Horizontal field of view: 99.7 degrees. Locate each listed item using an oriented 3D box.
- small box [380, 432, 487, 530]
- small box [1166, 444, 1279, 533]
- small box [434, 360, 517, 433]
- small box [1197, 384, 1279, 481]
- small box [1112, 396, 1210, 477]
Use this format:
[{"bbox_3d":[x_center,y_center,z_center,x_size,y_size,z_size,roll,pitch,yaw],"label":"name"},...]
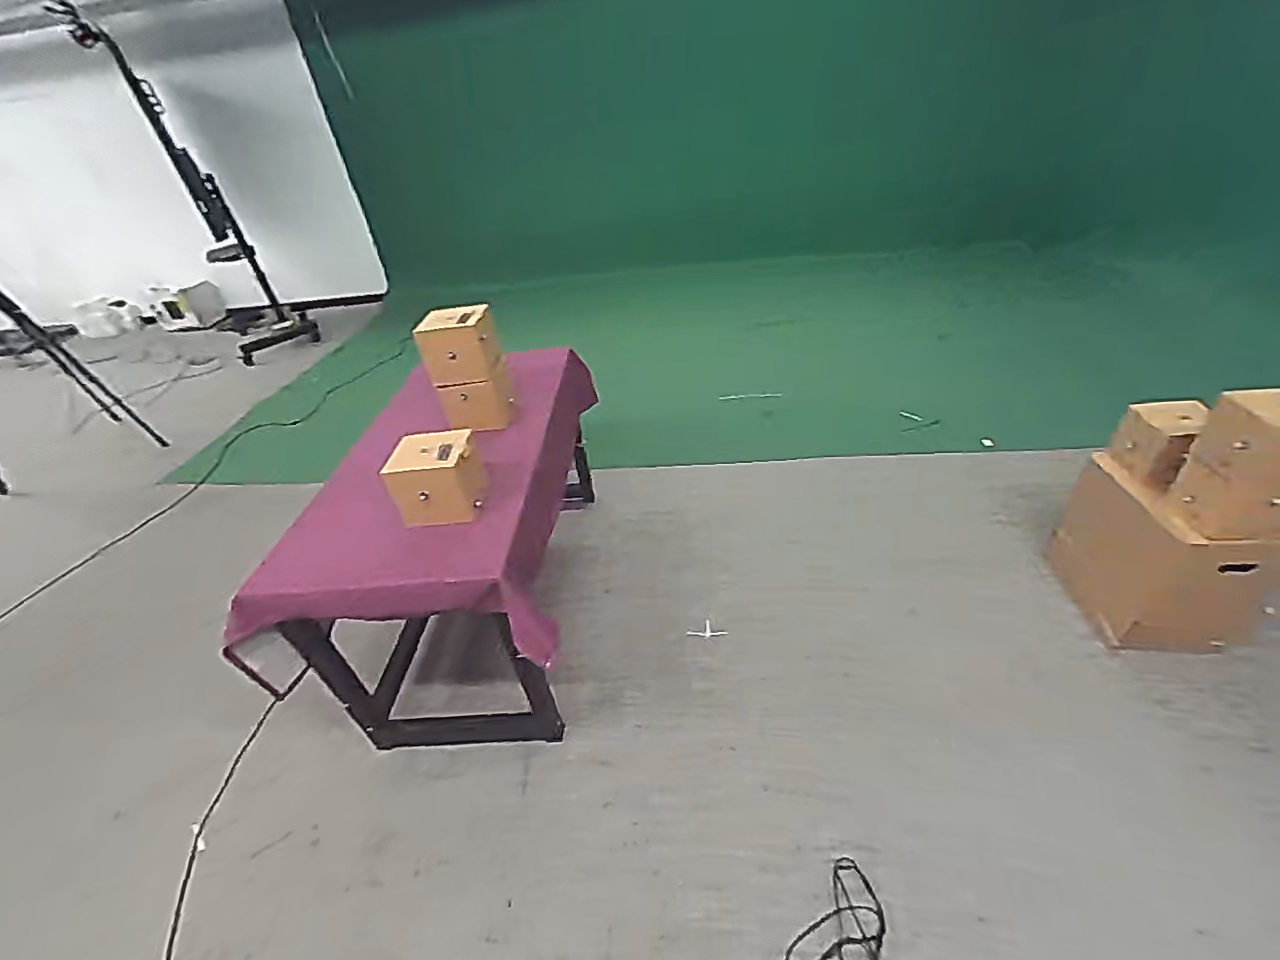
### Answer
[{"bbox_3d":[-0.493,0.005,1.326,0.179,0.176,0.168,-7,36,5],"label":"small box"},{"bbox_3d":[1.502,0.020,1.358,0.179,0.176,0.168,-4,36,7],"label":"small box"},{"bbox_3d":[-0.502,-0.255,1.674,0.179,0.176,0.168,-4,37,7],"label":"small box"},{"bbox_3d":[1.472,-0.110,1.263,0.179,0.176,0.168,-2,36,8],"label":"small box"},{"bbox_3d":[1.502,-0.120,1.543,0.179,0.176,0.168,-4,39,8],"label":"small box"}]
